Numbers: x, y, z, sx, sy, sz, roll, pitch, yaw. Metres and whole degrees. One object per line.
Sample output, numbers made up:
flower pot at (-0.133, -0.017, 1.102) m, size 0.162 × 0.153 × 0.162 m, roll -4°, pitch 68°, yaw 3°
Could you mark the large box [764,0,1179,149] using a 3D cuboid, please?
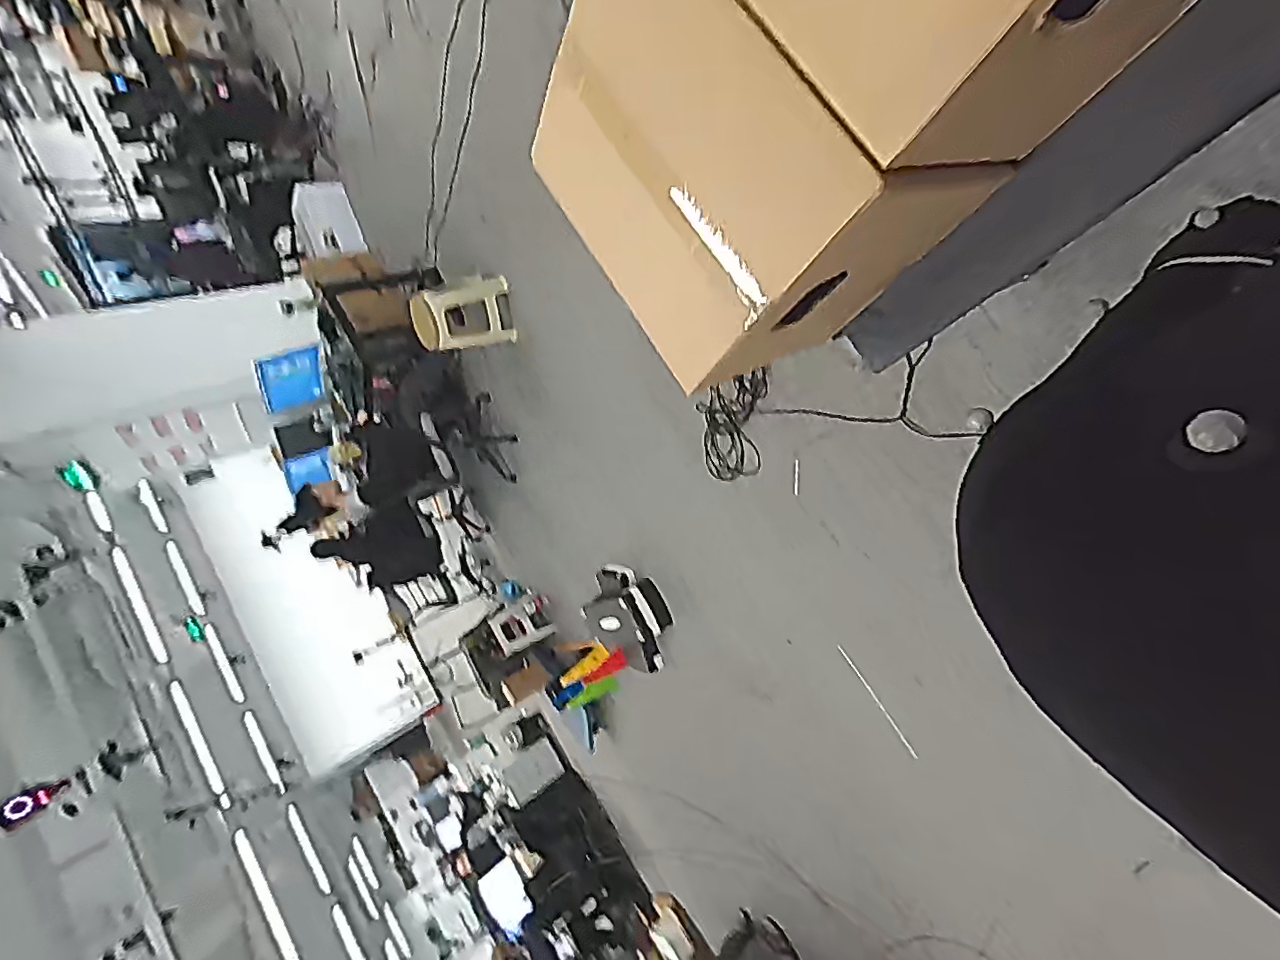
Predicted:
large box at (0.264, -0.535, 0.415) m, size 0.408 × 0.320 × 0.320 m, roll 57°, pitch 146°, yaw 10°
